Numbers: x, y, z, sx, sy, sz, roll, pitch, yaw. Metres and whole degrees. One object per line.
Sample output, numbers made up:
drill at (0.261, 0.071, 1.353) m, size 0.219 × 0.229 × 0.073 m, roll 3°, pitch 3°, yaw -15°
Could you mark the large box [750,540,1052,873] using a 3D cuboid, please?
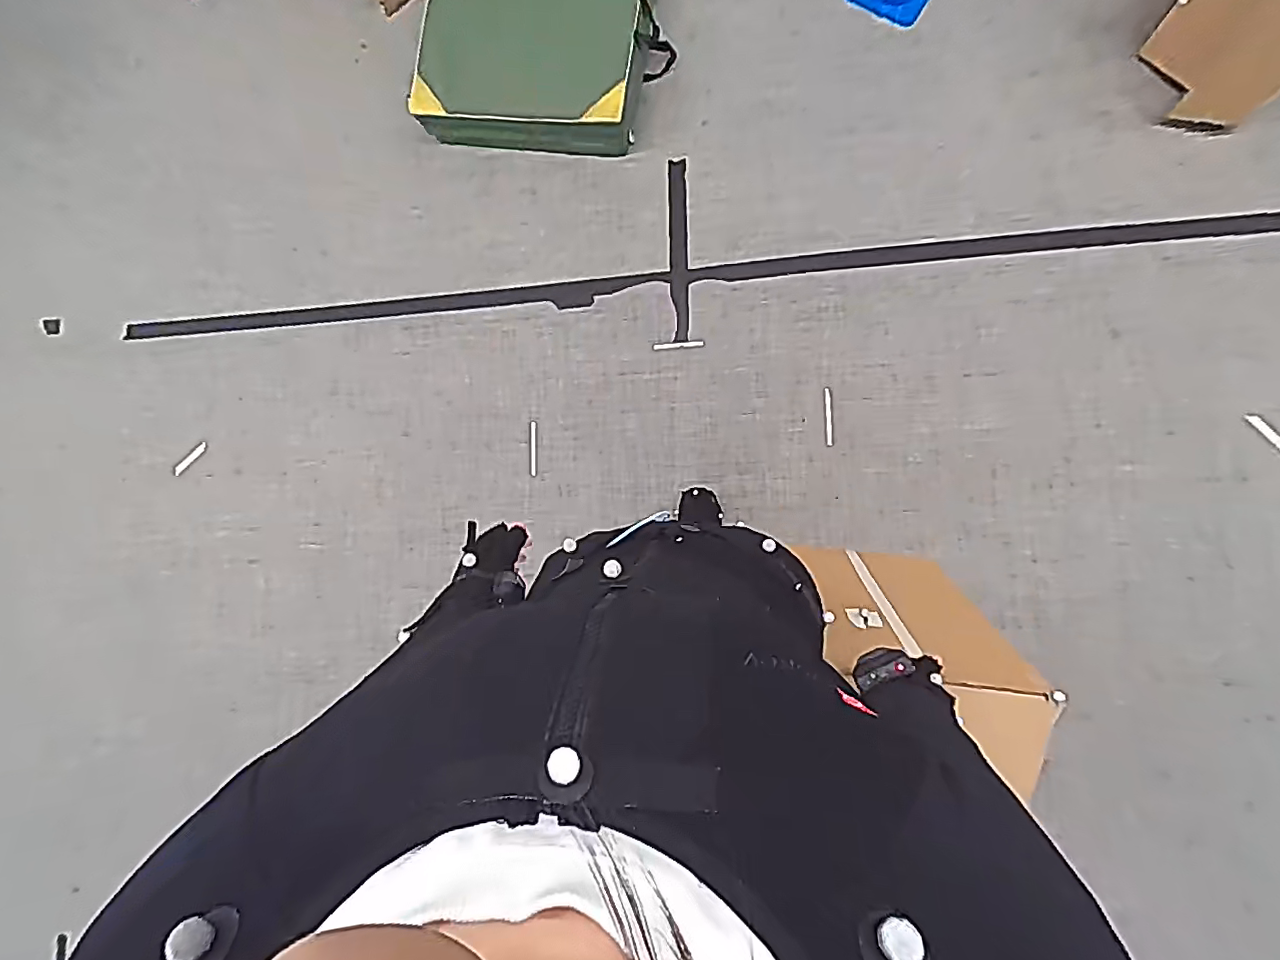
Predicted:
large box at (0.368, 0.334, 0.906) m, size 0.320 × 0.408 × 0.320 m, roll 4°, pitch 109°, yaw 7°
